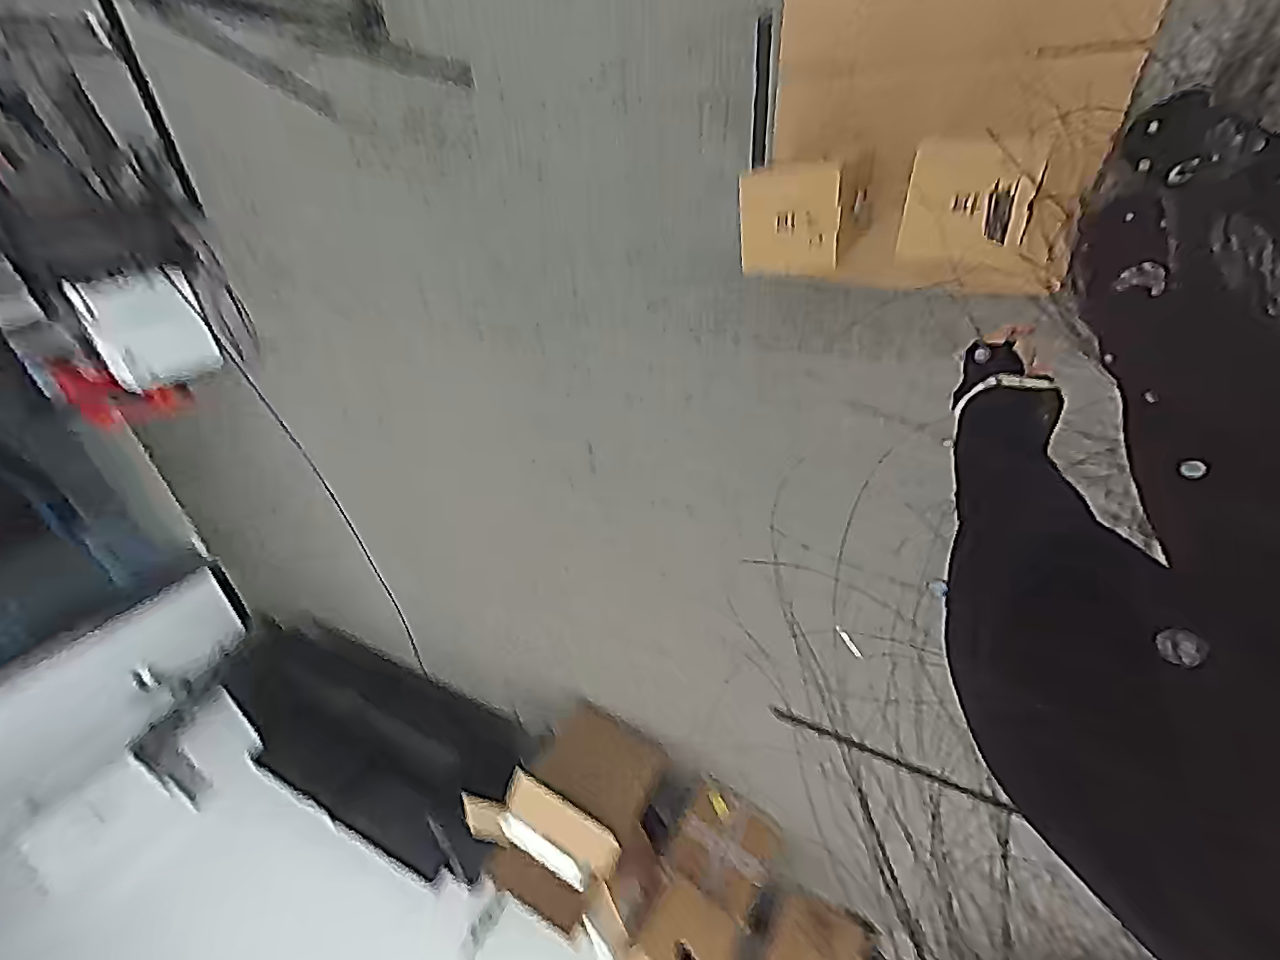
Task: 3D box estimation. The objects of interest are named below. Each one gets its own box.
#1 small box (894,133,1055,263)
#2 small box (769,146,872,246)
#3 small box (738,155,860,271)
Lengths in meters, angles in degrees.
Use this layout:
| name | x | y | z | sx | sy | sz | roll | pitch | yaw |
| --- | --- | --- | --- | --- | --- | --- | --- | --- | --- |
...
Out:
| name | x | y | z | sx | sy | sz | roll | pitch | yaw |
| --- | --- | --- | --- | --- | --- | --- | --- | --- | --- |
| small box | 0.531 | -0.459 | 0.873 | 0.179 | 0.176 | 0.168 | 15 | 127 | 25 |
| small box | 0.375 | -0.579 | 1.118 | 0.179 | 0.176 | 0.168 | 7 | 123 | 29 |
| small box | 0.295 | -0.493 | 1.002 | 0.179 | 0.176 | 0.168 | 9 | 125 | 29 |
